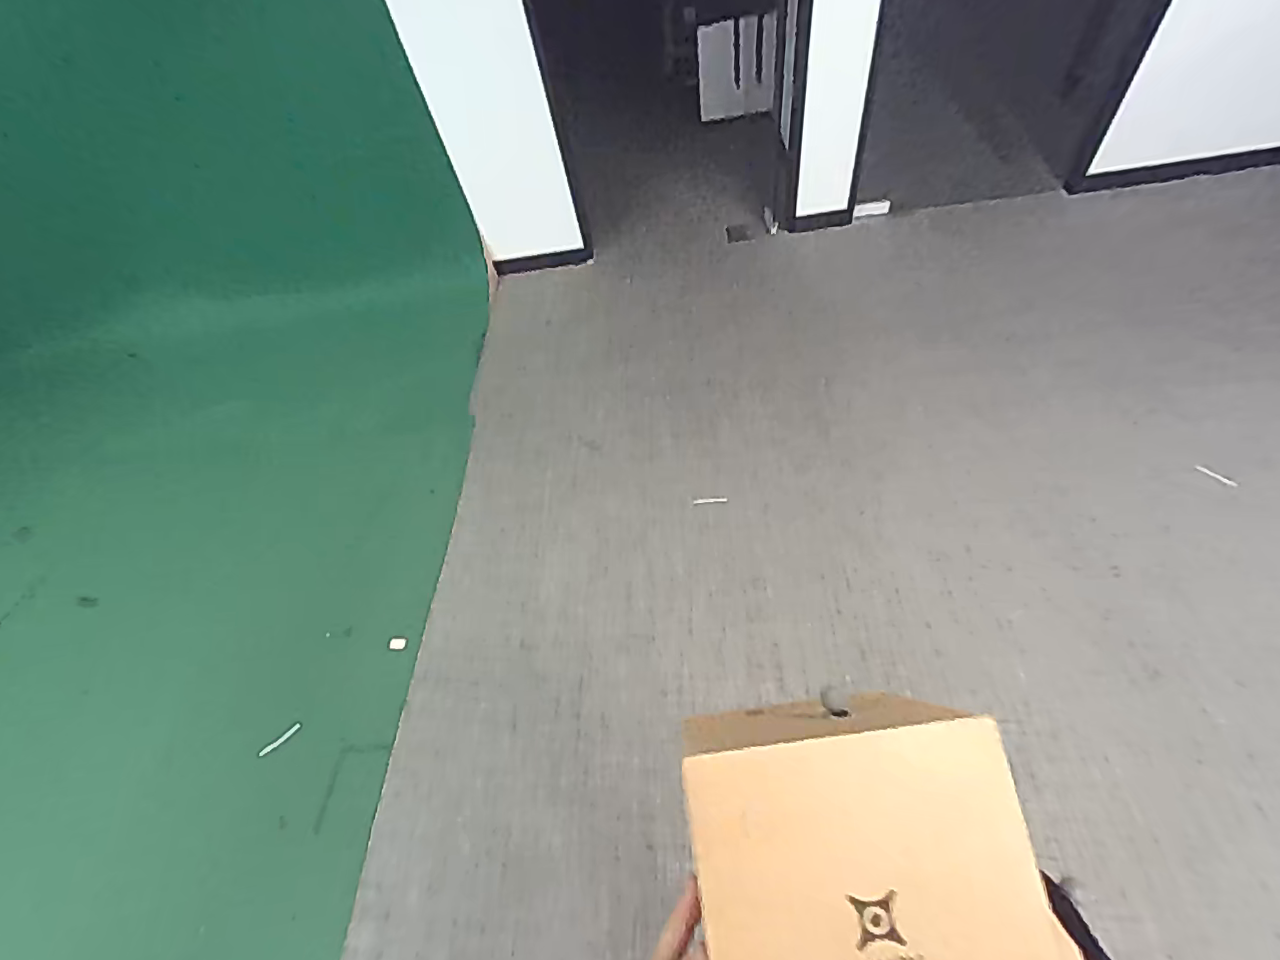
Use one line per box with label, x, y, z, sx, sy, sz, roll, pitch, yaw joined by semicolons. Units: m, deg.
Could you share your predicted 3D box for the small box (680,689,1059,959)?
small box;0.120;0.237;0.347;0.168;0.176;0.179;-8;73;-1
